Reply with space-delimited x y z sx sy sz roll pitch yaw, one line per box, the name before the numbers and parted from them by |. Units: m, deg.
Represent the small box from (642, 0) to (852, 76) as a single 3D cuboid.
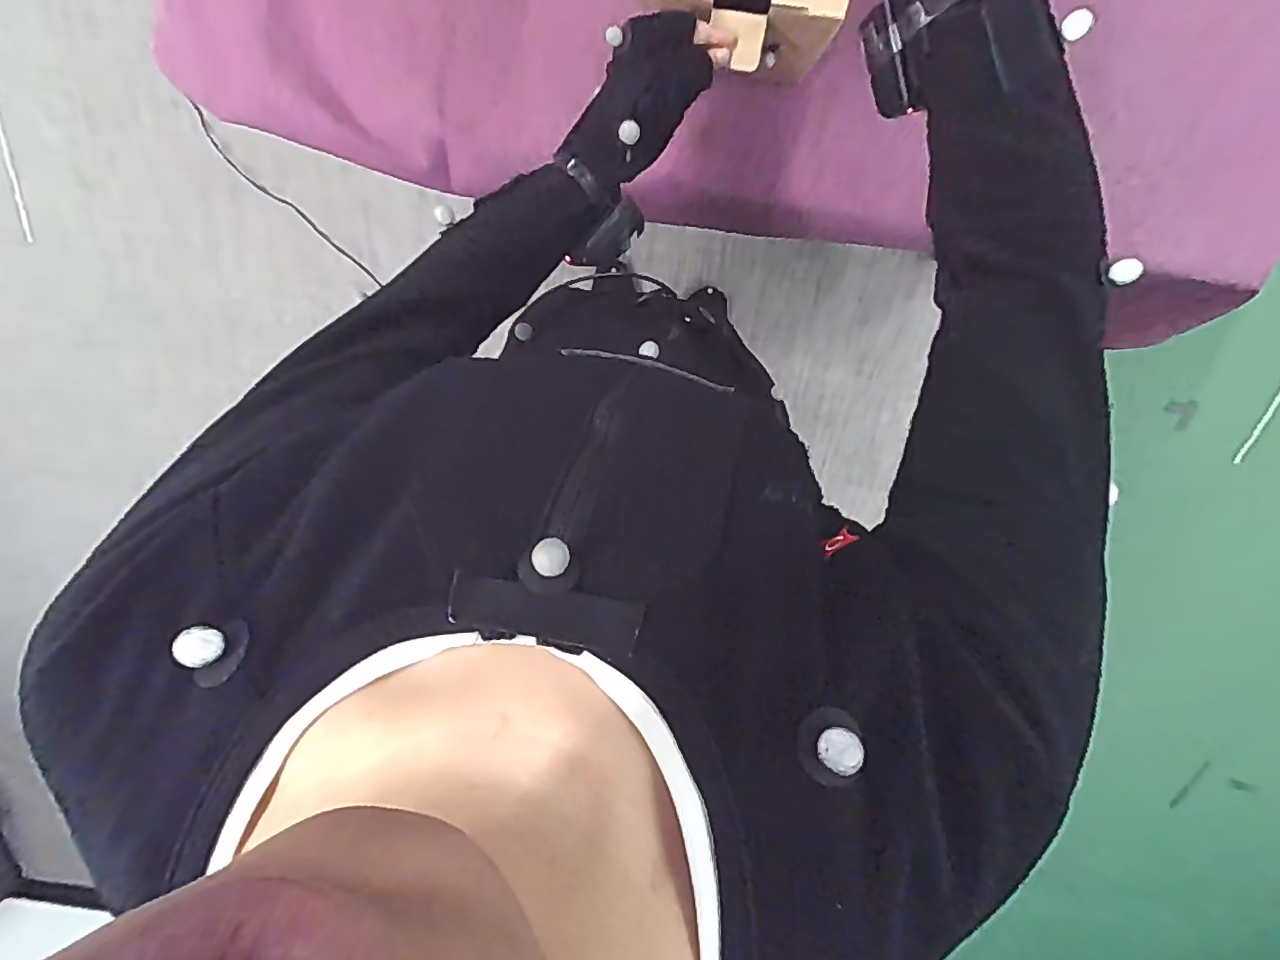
small box | 0.098 -0.474 0.454 0.168 0.176 0.179 9 112 0
